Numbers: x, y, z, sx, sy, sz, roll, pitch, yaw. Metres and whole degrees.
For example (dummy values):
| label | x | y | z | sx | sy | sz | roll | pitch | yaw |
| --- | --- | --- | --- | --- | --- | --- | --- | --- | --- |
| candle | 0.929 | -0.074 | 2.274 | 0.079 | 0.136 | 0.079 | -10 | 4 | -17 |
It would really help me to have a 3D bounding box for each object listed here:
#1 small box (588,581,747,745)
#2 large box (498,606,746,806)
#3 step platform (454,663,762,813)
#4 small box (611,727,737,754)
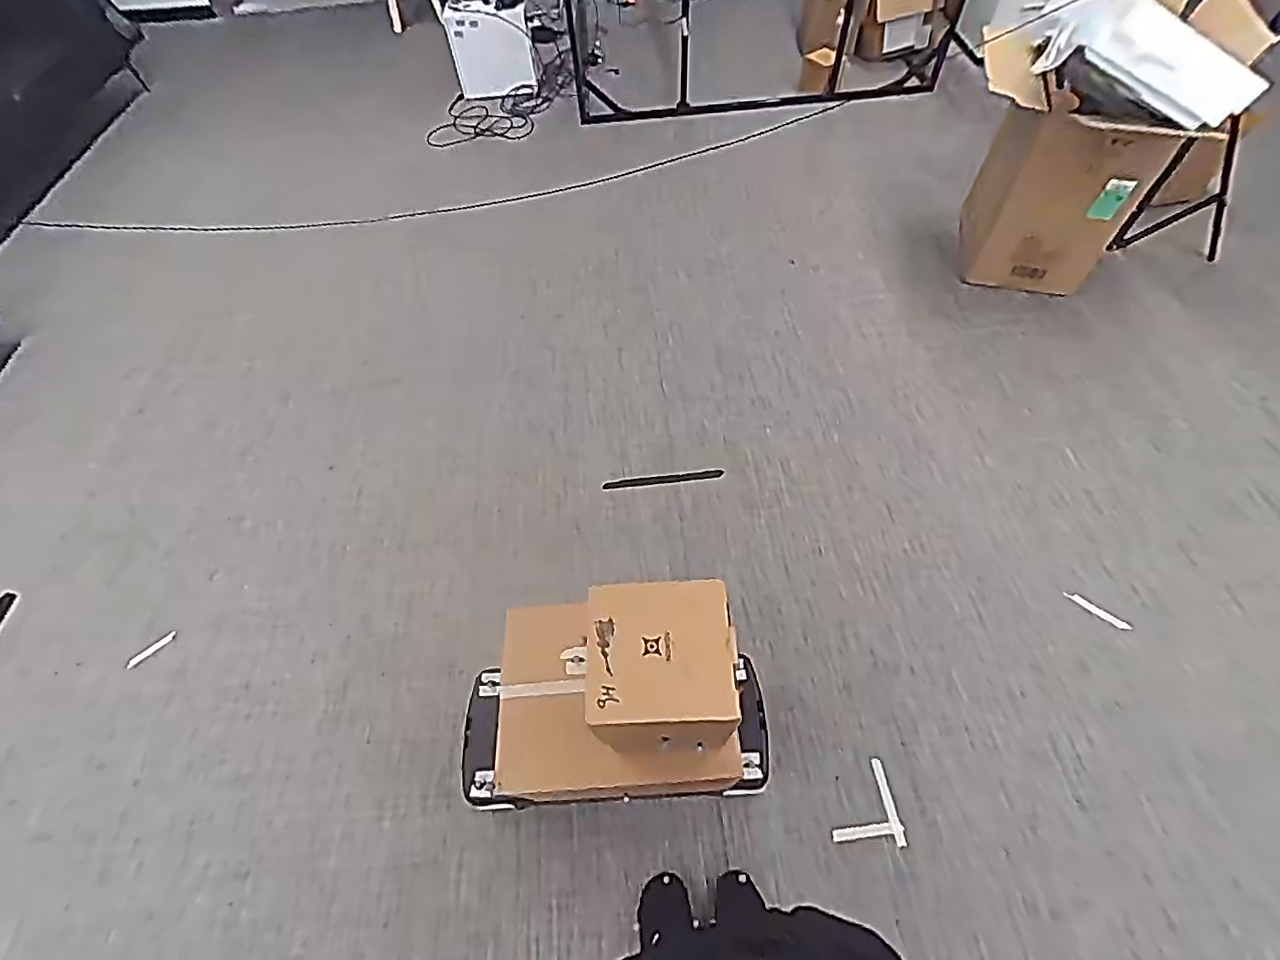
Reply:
| label | x | y | z | sx | sy | sz | roll | pitch | yaw |
| --- | --- | --- | --- | --- | --- | --- | --- | --- | --- |
| small box | 0.031 | 0.239 | 0.697 | 0.179 | 0.176 | 0.168 | -2 | 56 | 1 |
| large box | -0.028 | 0.441 | 1.059 | 0.408 | 0.320 | 0.320 | -6 | 56 | 1 |
| step platform | -0.067 | 0.589 | 1.249 | 0.684 | 0.204 | 0.286 | -1 | 57 | 4 |
| small box | 0.044 | 0.322 | 0.838 | 0.179 | 0.176 | 0.168 | -5 | 57 | 1 |
